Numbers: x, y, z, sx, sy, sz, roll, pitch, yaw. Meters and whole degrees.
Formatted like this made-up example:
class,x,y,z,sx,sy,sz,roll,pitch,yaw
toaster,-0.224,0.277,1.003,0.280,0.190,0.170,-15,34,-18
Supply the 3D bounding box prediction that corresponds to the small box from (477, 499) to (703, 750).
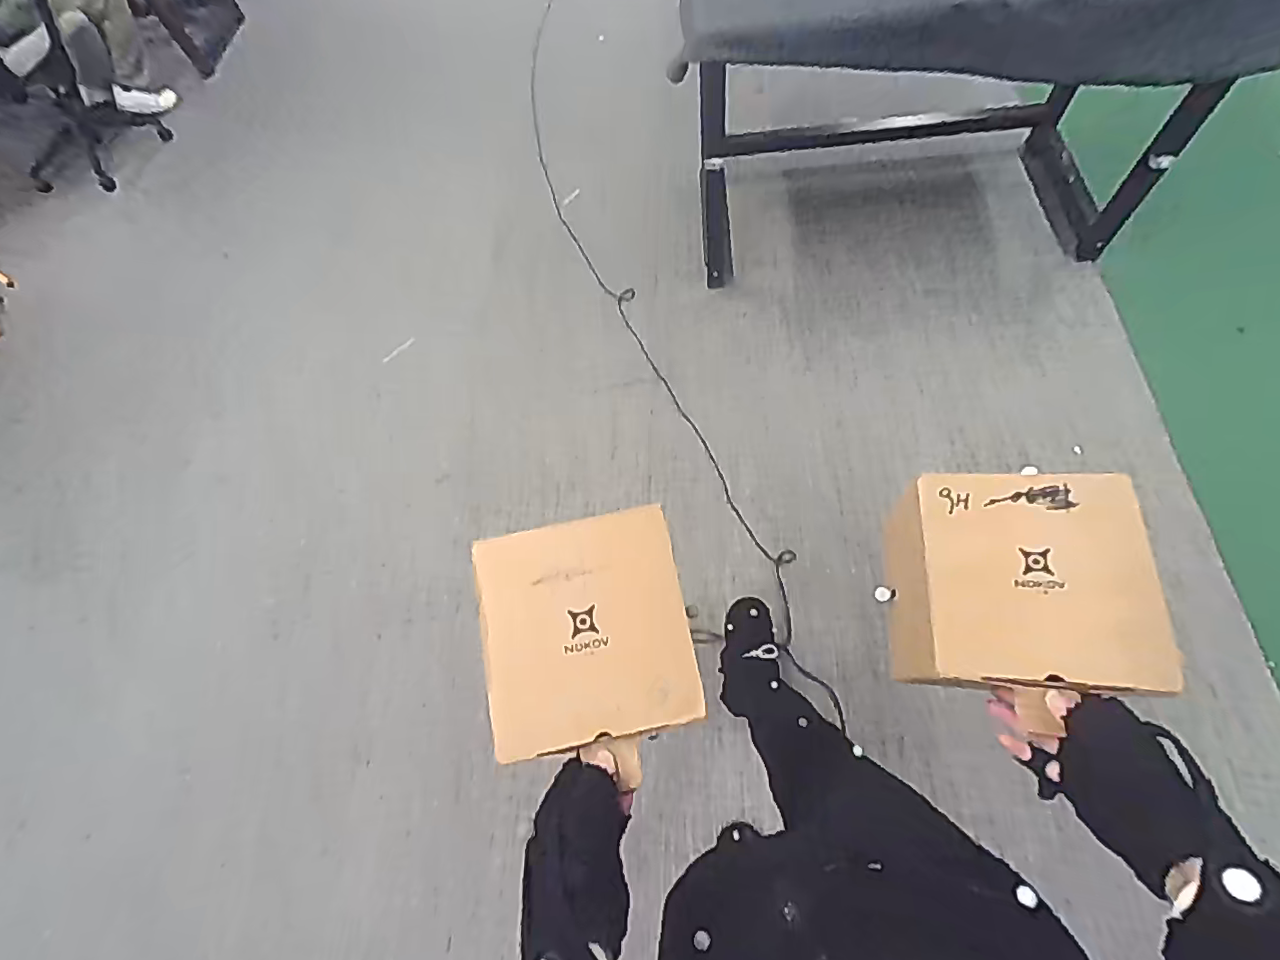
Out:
class,x,y,z,sx,sy,sz,roll,pitch,yaw
small box,-0.044,0.136,0.519,0.168,0.176,0.179,-11,72,-5
